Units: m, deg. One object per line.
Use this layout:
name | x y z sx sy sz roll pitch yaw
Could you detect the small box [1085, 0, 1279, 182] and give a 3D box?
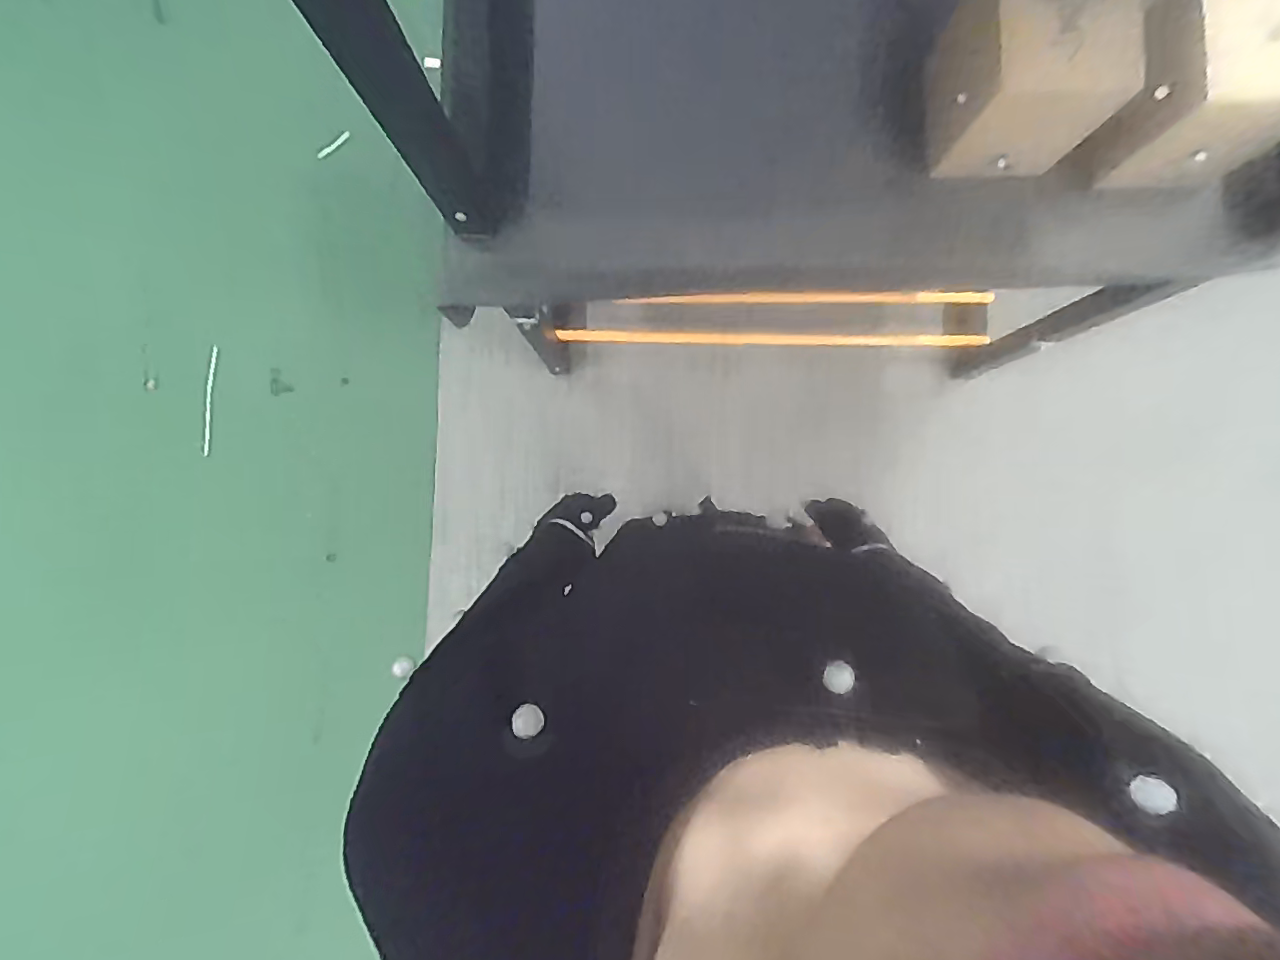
small box | 0.728 -0.514 0.703 0.168 0.176 0.179 -1 86 1
